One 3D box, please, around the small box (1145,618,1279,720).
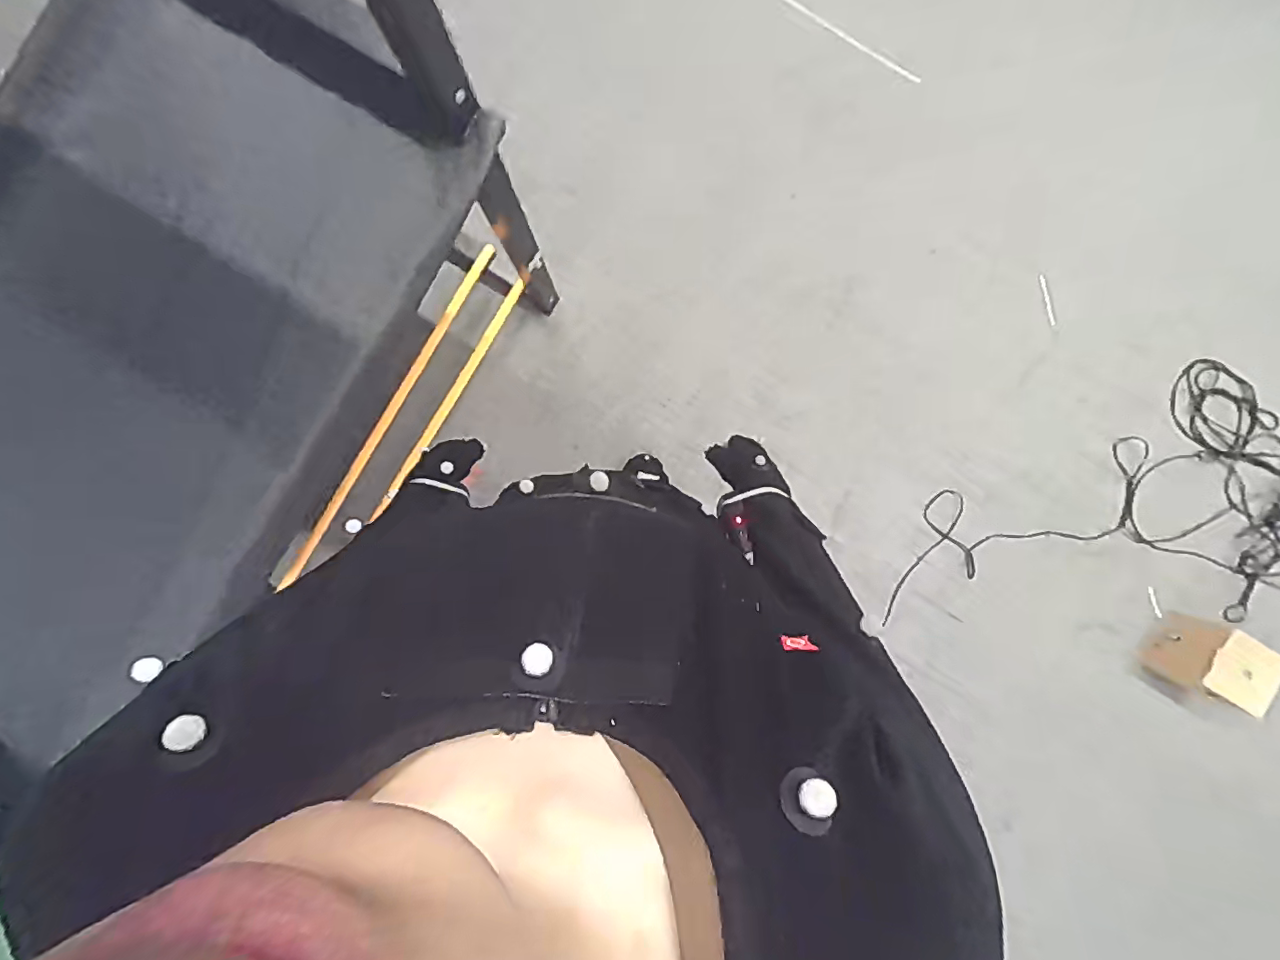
[{"bbox_3d":[1.505,0.483,1.416,0.179,0.176,0.168,31,89,0],"label":"small box"}]
